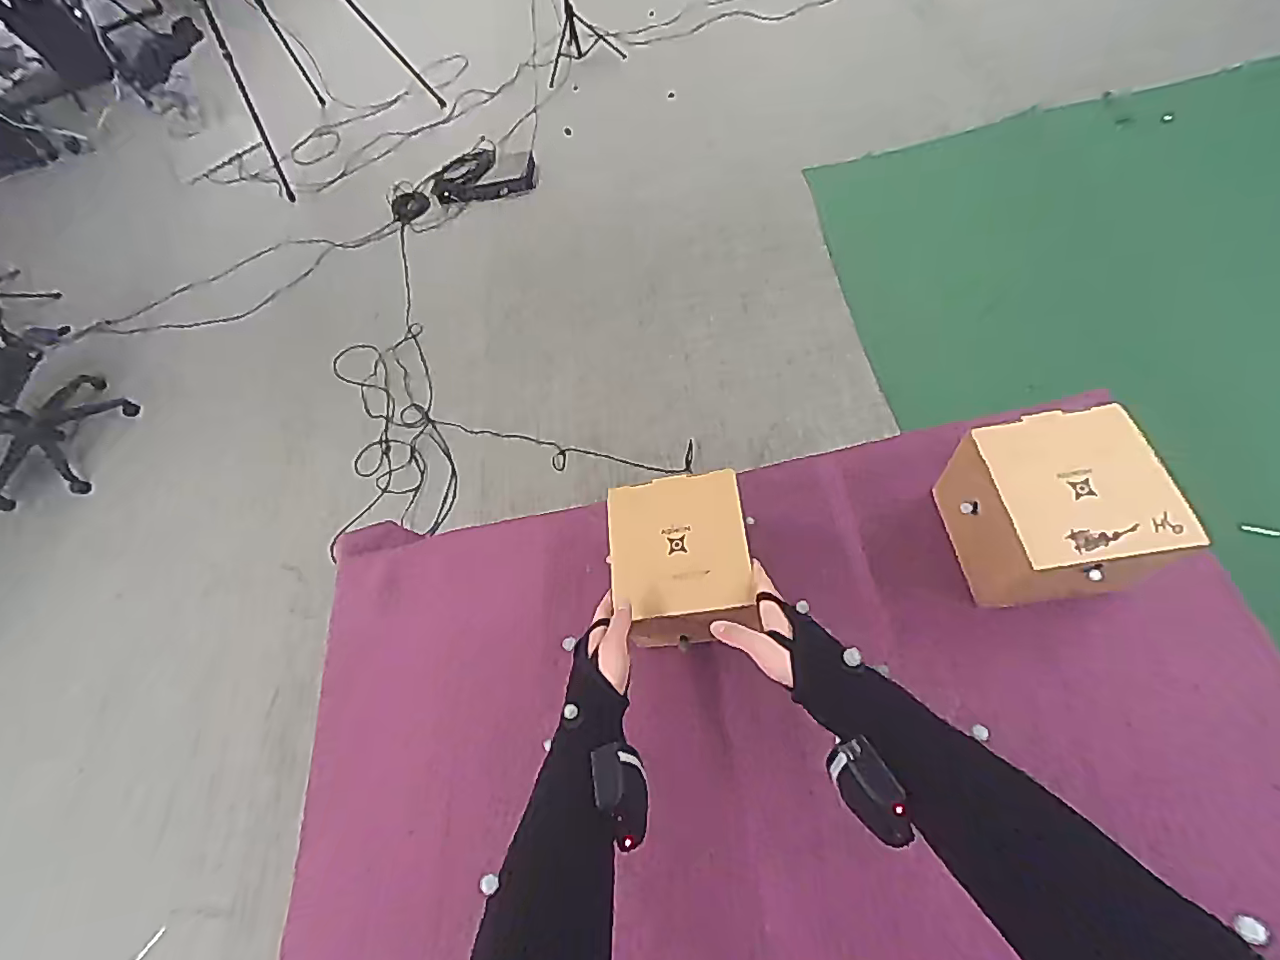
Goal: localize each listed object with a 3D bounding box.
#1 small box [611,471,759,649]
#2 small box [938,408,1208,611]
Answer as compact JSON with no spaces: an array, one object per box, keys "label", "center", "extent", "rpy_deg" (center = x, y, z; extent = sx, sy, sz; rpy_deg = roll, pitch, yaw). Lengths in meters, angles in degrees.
[{"label":"small box","center":[0.061,0.111,0.712],"extent":[0.168,0.176,0.179],"rpy_deg":[-9,61,9]},{"label":"small box","center":[0.487,0.043,0.650],"extent":[0.168,0.176,0.179],"rpy_deg":[-11,60,8]}]
